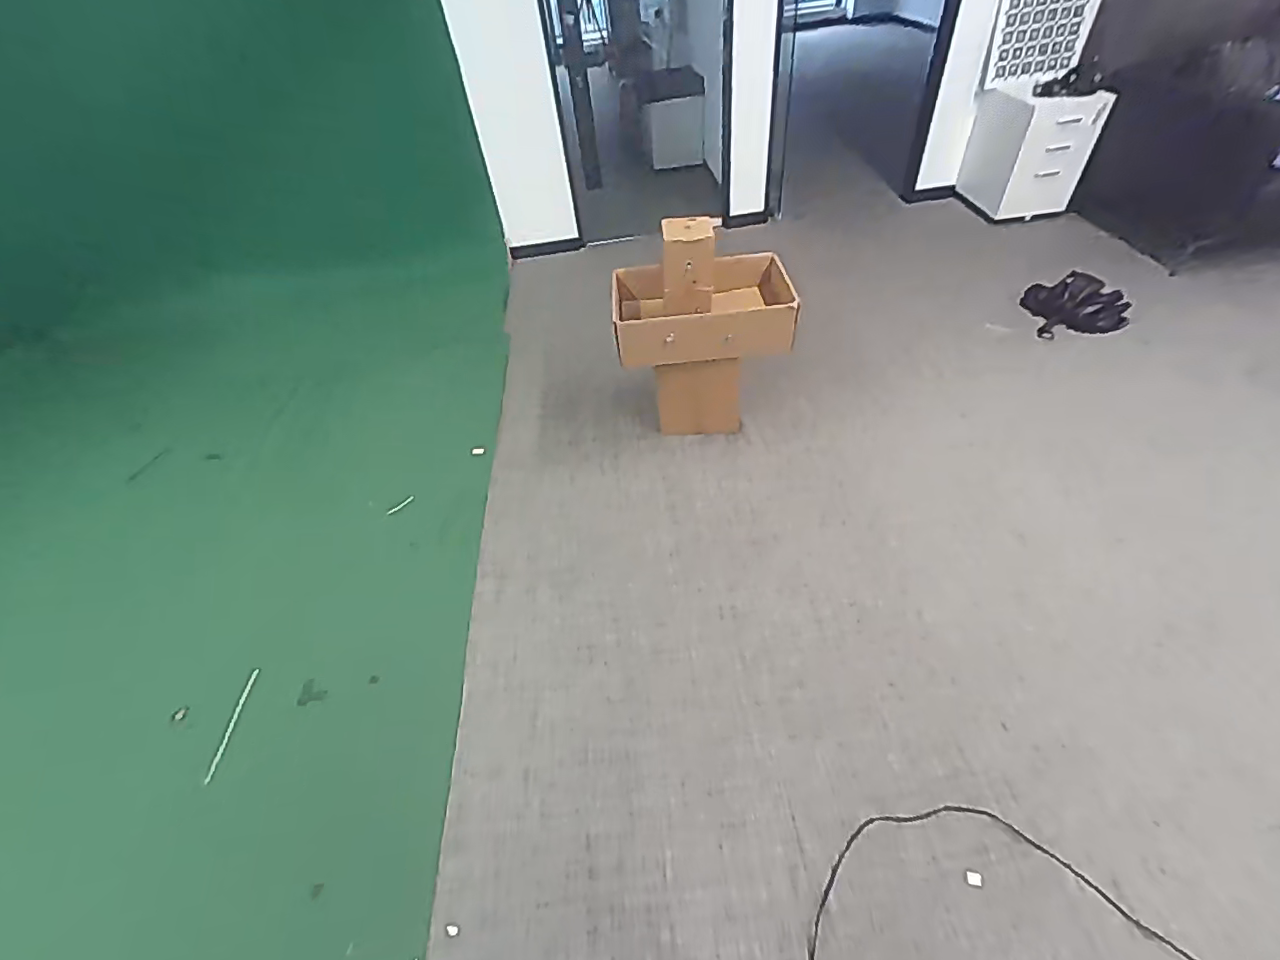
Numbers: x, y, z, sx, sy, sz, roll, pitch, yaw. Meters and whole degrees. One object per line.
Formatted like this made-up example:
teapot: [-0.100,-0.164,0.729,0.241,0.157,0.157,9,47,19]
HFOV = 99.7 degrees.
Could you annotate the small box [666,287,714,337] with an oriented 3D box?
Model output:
small box: [0.179,-0.631,1.957,0.168,0.176,0.179,-2,43,2]

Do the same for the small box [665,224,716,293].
small box: [0.170,-0.754,1.848,0.168,0.176,0.179,-2,46,1]
